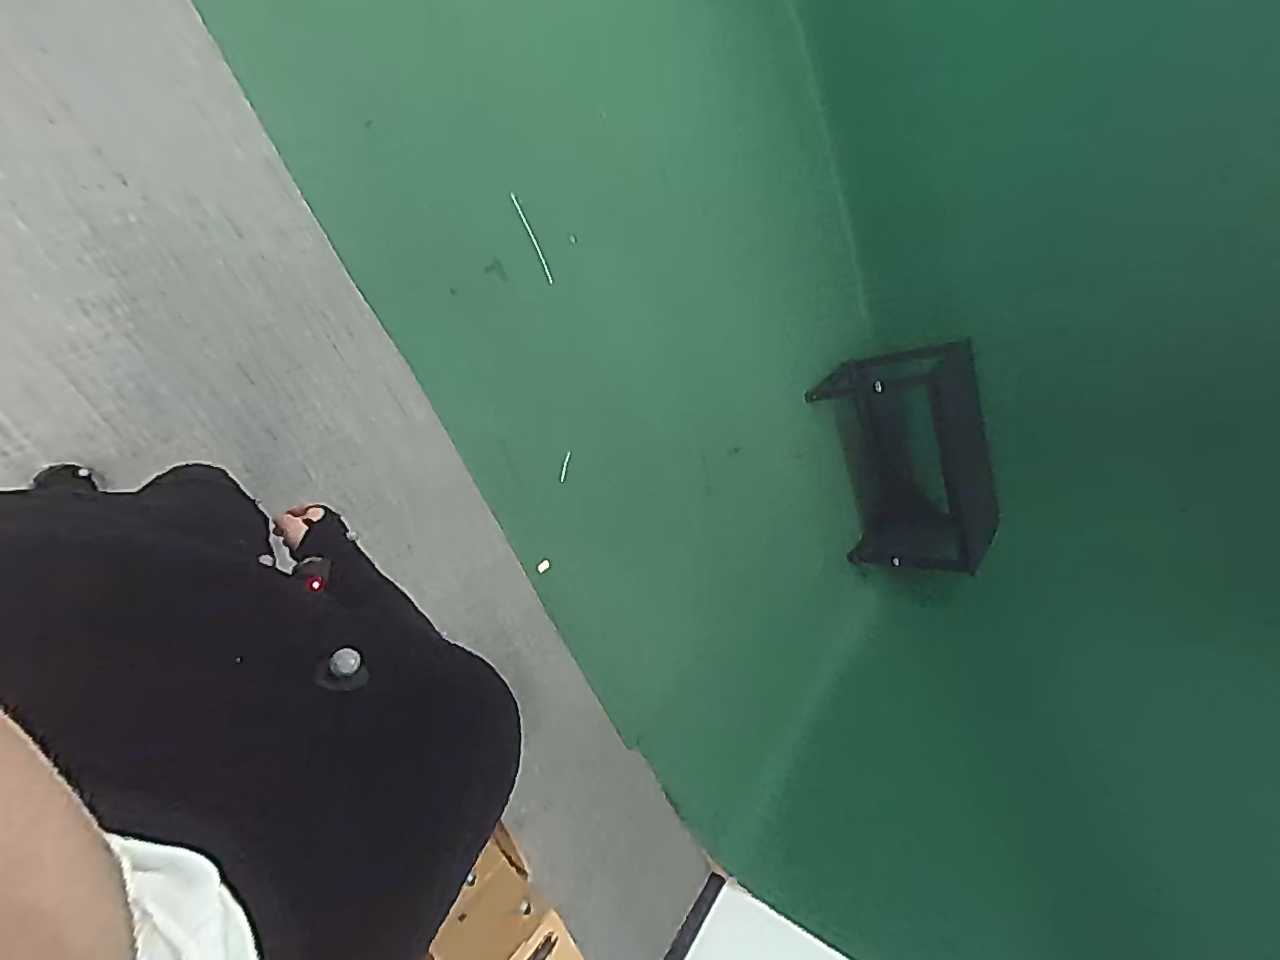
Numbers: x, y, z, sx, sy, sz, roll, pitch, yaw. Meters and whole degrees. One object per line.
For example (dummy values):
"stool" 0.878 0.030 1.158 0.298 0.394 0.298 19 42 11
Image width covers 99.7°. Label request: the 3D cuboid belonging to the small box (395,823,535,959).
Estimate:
"small box" -0.344 0.823 1.061 0.168 0.176 0.179 -36 114 -39
